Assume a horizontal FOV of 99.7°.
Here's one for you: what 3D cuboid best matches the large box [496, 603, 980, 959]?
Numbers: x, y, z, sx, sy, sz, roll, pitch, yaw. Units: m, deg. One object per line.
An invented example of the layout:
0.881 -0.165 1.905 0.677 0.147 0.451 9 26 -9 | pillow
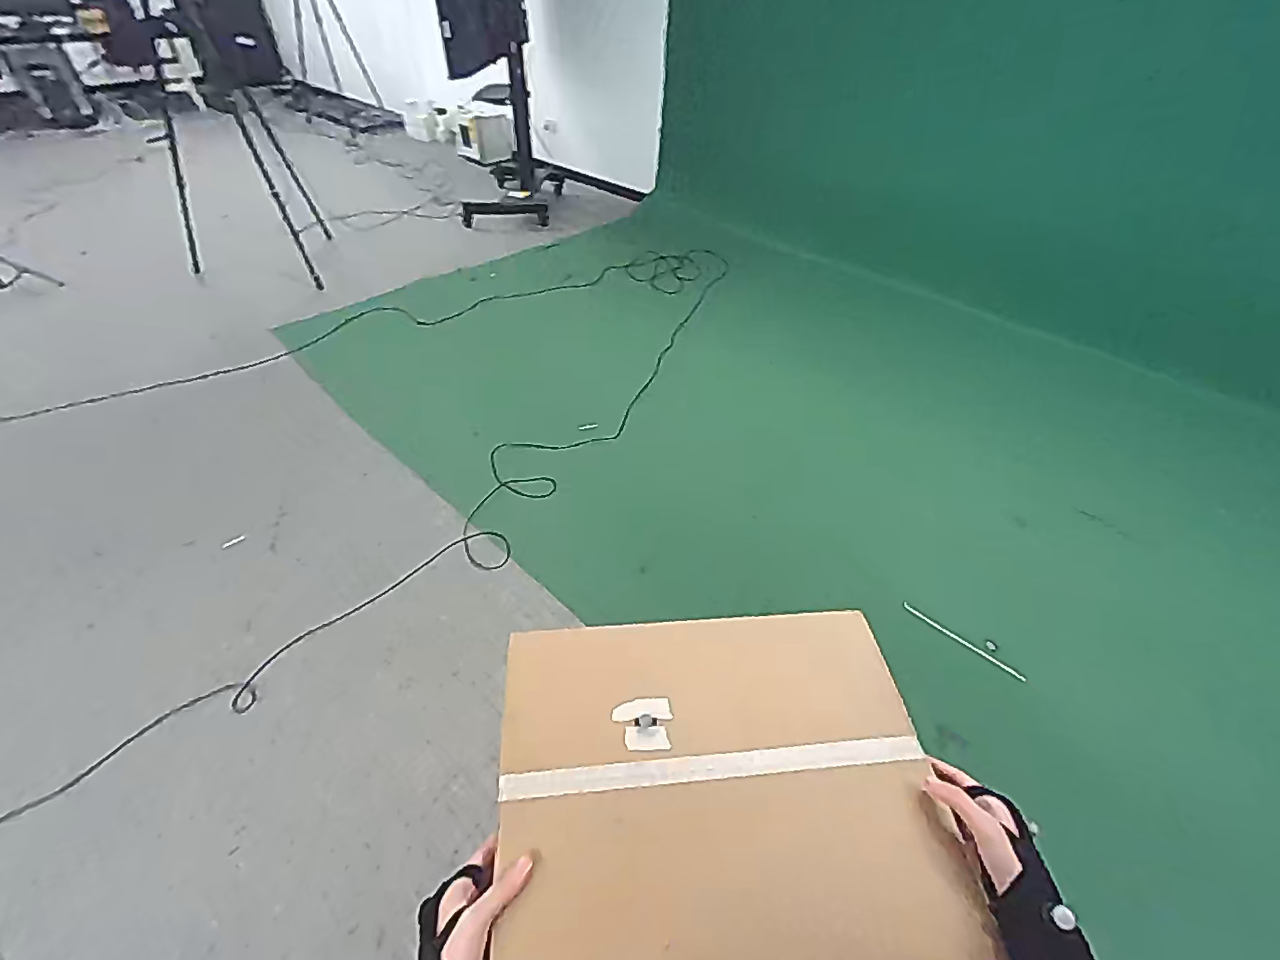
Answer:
0.068 0.369 0.635 0.408 0.320 0.320 -2 47 -5 | large box
